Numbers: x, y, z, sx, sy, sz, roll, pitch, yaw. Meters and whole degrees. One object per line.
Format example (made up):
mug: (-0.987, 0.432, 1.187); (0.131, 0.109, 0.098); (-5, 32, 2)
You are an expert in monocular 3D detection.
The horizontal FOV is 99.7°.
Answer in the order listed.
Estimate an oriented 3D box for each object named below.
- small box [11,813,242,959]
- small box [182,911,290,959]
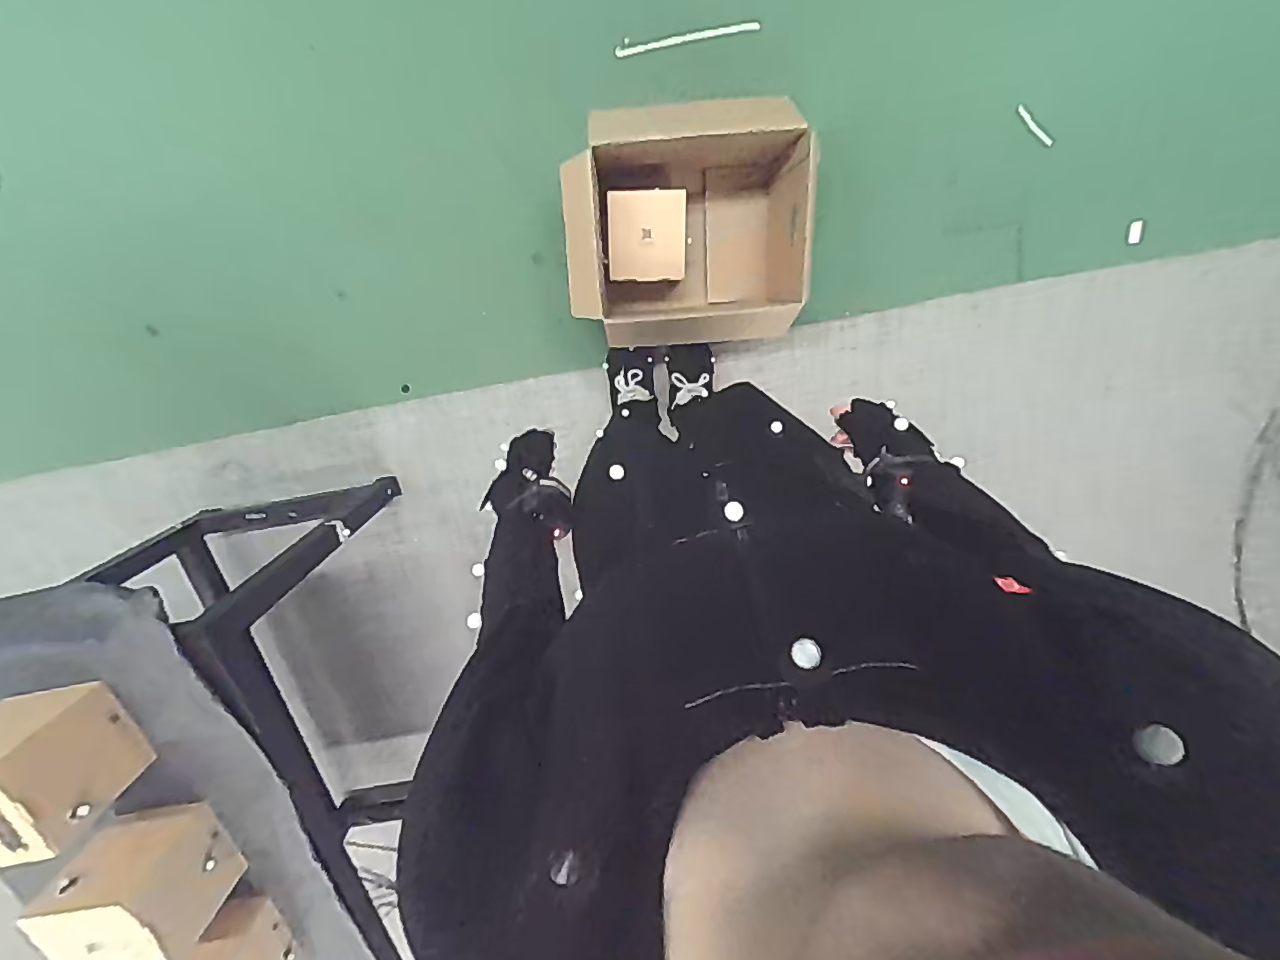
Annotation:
small box: (-0.805, 0.677, 0.872); (0.179, 0.176, 0.168); (-11, 109, 3)
small box: (-0.758, 0.902, 0.951); (0.179, 0.176, 0.168); (-9, 108, 4)
